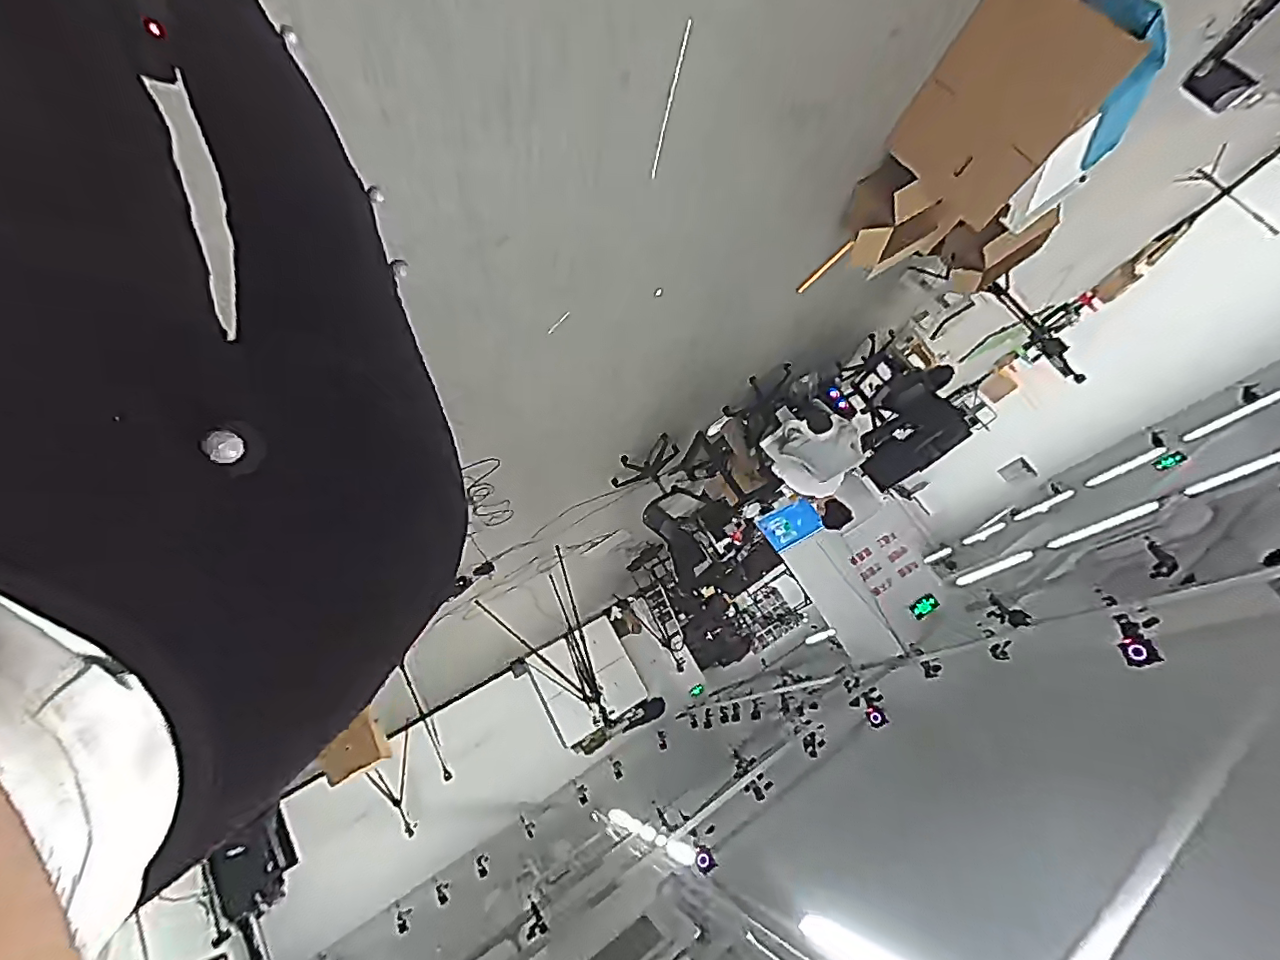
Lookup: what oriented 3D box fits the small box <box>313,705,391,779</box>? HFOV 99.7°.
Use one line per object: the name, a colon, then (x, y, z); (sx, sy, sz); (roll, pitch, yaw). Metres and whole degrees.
small box: (-0.968, 0.877, 1.820); (0.168, 0.176, 0.179); (-24, 161, -22)
